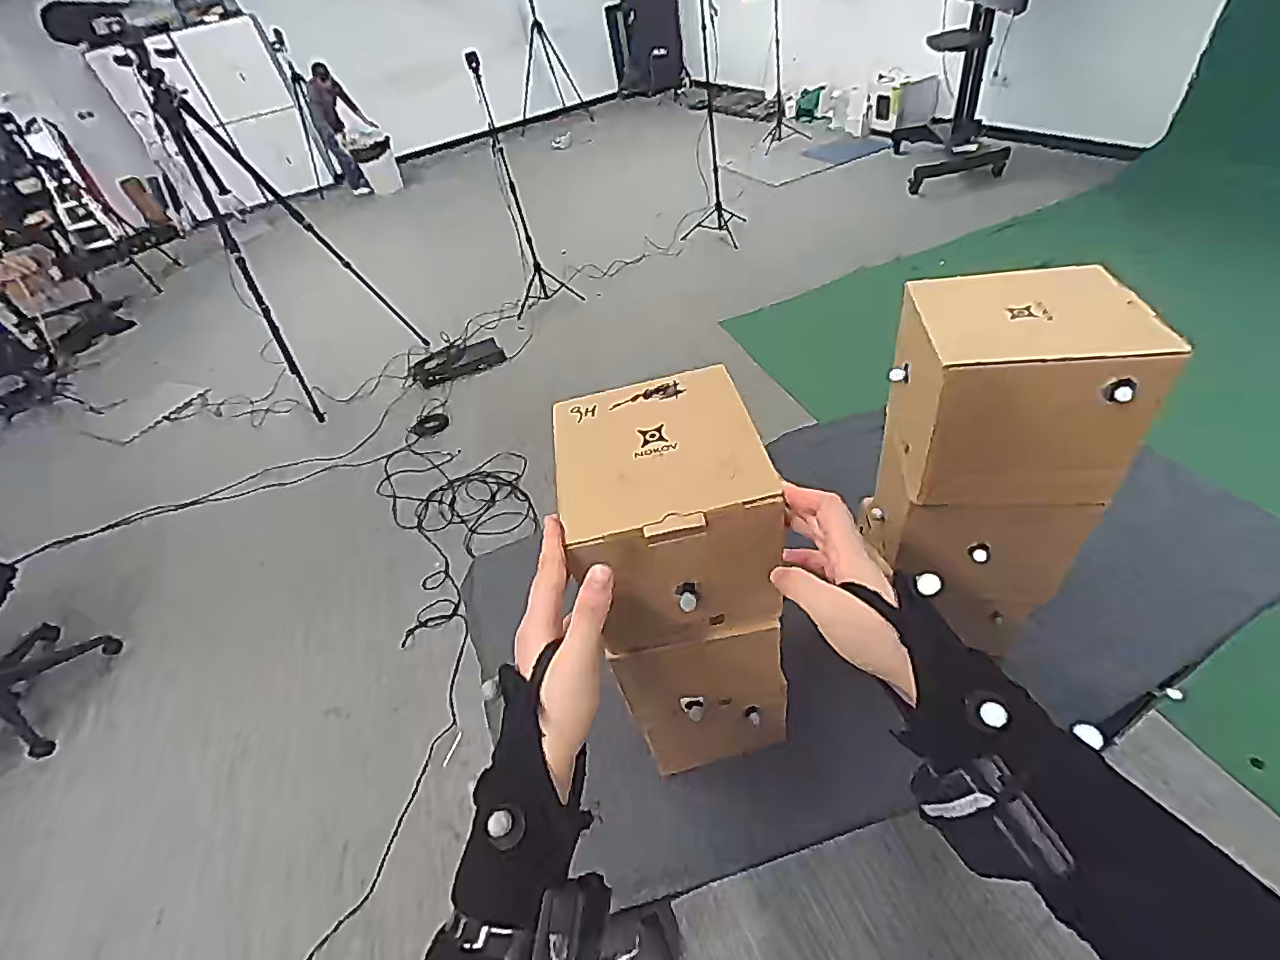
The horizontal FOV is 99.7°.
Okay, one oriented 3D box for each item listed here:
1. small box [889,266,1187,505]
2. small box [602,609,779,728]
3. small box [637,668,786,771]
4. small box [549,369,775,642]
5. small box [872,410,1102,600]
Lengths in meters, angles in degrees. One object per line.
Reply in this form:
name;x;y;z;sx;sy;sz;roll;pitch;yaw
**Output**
small box;0.354;-0.088;0.532;0.179;0.176;0.168;-1;43;13
small box;0.052;0.148;0.608;0.168;0.176;0.179;-13;44;3
small box;0.081;0.259;0.724;0.179;0.176;0.168;-16;43;-1
small box;0.022;0.031;0.497;0.168;0.176;0.179;-13;46;2
small box;0.386;0.027;0.642;0.179;0.176;0.168;0;44;15
